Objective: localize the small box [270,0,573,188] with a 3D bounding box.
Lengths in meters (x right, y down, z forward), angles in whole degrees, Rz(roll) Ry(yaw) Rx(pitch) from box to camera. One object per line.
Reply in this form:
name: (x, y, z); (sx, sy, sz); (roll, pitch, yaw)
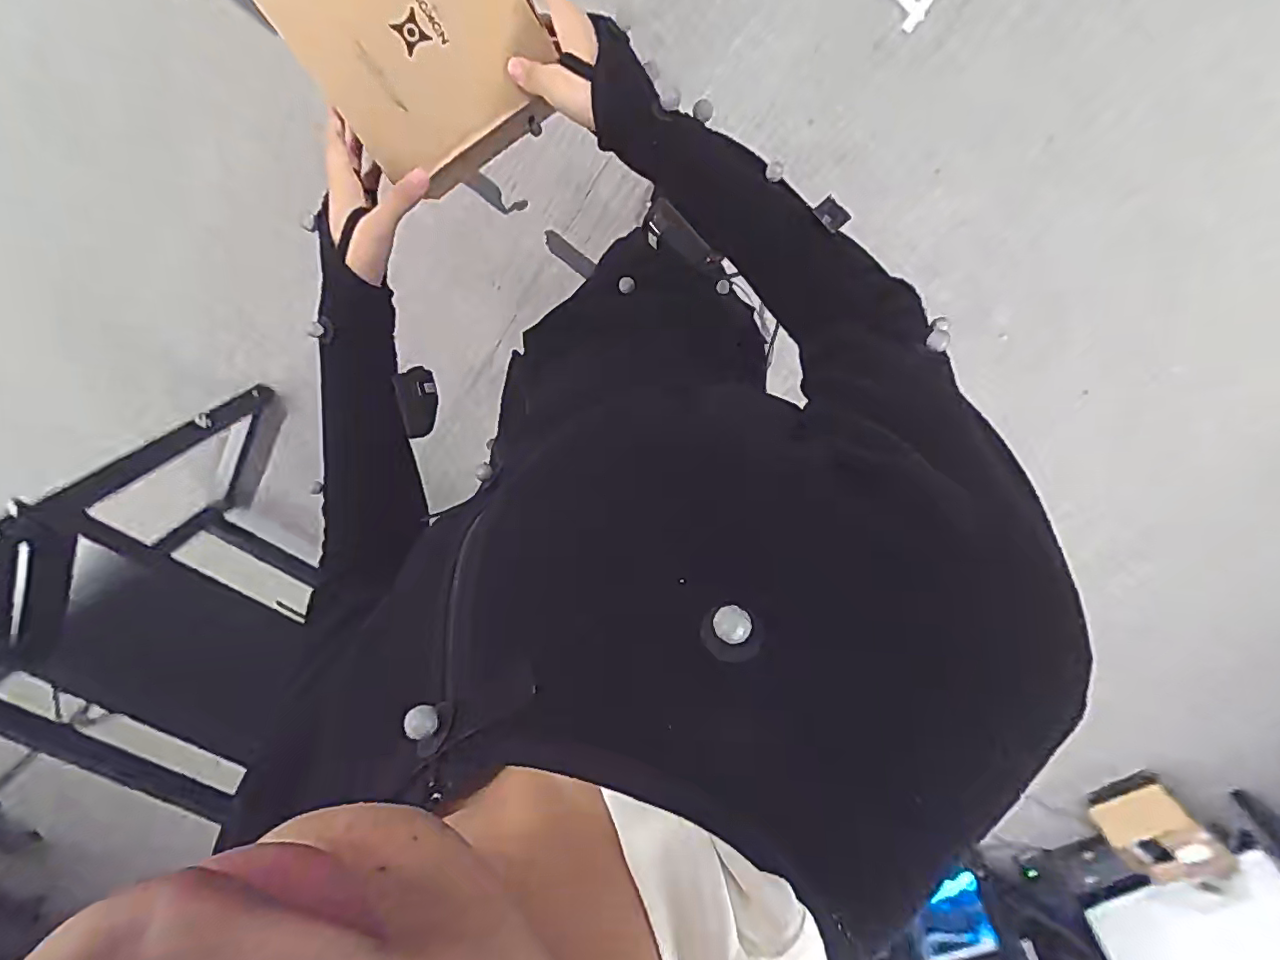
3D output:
small box: (-0.179, -0.385, 0.474); (0.179, 0.176, 0.168); (-32, 116, 6)
